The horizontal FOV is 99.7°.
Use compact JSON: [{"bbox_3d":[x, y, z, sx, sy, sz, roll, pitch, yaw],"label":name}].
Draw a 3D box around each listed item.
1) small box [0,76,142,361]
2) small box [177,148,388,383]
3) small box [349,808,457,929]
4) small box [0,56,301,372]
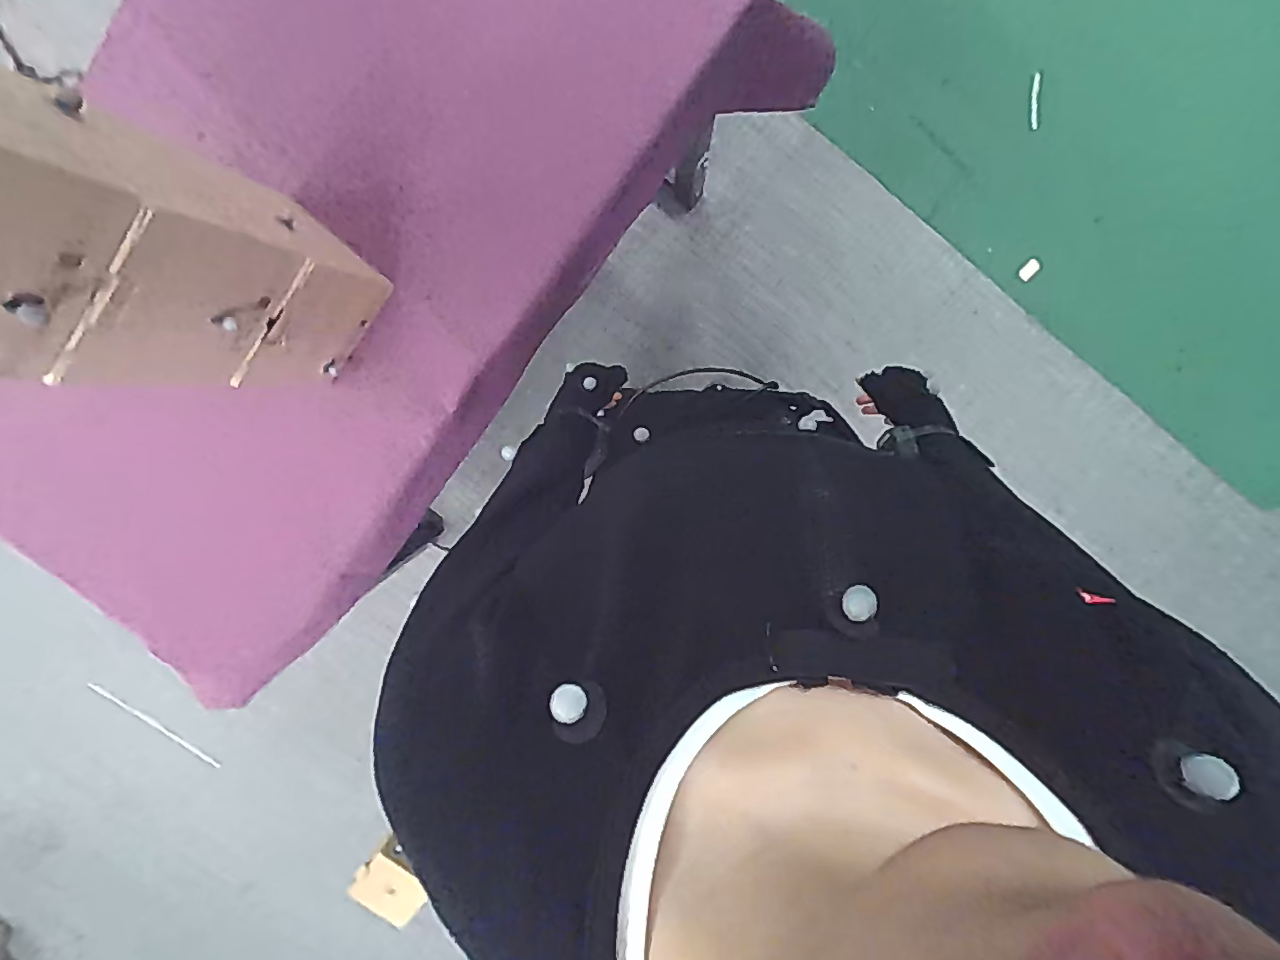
[{"bbox_3d":[-0.471,-0.181,0.315,0.179,0.176,0.168,39,101,-4],"label":"small box"},{"bbox_3d":[-0.441,-0.235,0.637,0.179,0.176,0.168,40,100,-4],"label":"small box"},{"bbox_3d":[-0.631,1.041,1.463,0.179,0.176,0.168,37,100,-3],"label":"small box"},{"bbox_3d":[-0.457,-0.208,0.475,0.179,0.176,0.168,39,101,-5],"label":"small box"}]
